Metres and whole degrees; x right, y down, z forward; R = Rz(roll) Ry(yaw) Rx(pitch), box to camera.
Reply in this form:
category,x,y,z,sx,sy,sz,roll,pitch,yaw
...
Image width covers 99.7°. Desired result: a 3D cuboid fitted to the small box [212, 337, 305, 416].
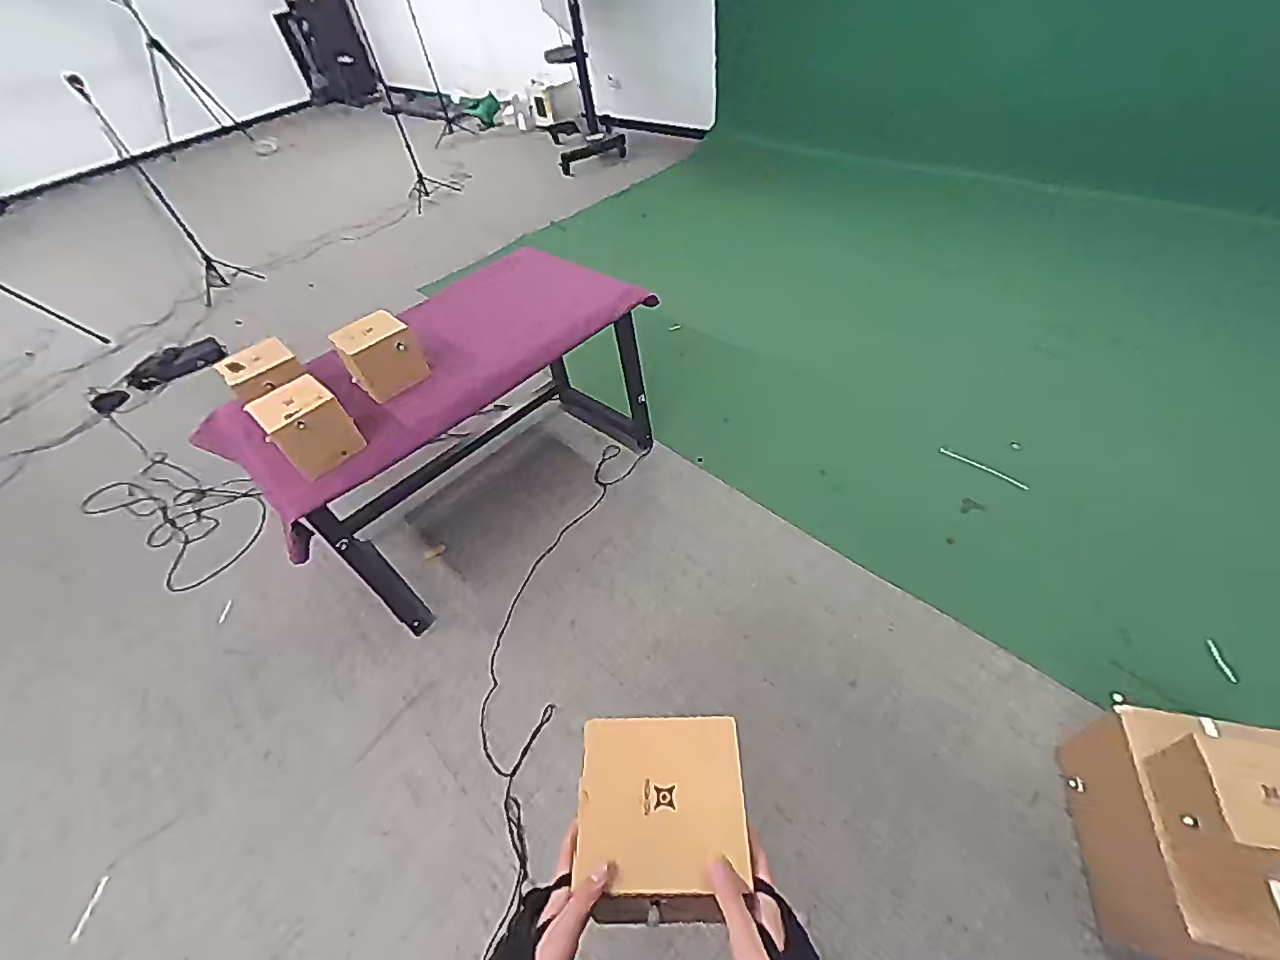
category,x,y,z,sx,sy,sz,roll,pitch,yaw
small box,-1.040,-0.268,1.518,0.179,0.176,0.168,-39,54,-25

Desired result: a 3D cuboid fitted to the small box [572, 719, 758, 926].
category,x,y,z,sx,sy,sz,roll,pitch,yaw
small box,0.031,0.387,0.612,0.179,0.176,0.168,-4,44,5

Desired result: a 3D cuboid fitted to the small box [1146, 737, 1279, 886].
category,x,y,z,sx,sy,sz,roll,pitch,yaw
small box,1.048,0.581,0.944,0.168,0.176,0.179,6,49,15

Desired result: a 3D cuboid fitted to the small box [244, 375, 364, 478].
category,x,y,z,sx,sy,sz,roll,pitch,yaw
small box,-0.839,-0.132,1.359,0.179,0.176,0.168,31,60,34

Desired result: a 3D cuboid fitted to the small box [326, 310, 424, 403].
category,x,y,z,sx,sy,sz,roll,pitch,yaw
small box,-0.745,-0.353,1.545,0.179,0.176,0.168,-39,53,-24
